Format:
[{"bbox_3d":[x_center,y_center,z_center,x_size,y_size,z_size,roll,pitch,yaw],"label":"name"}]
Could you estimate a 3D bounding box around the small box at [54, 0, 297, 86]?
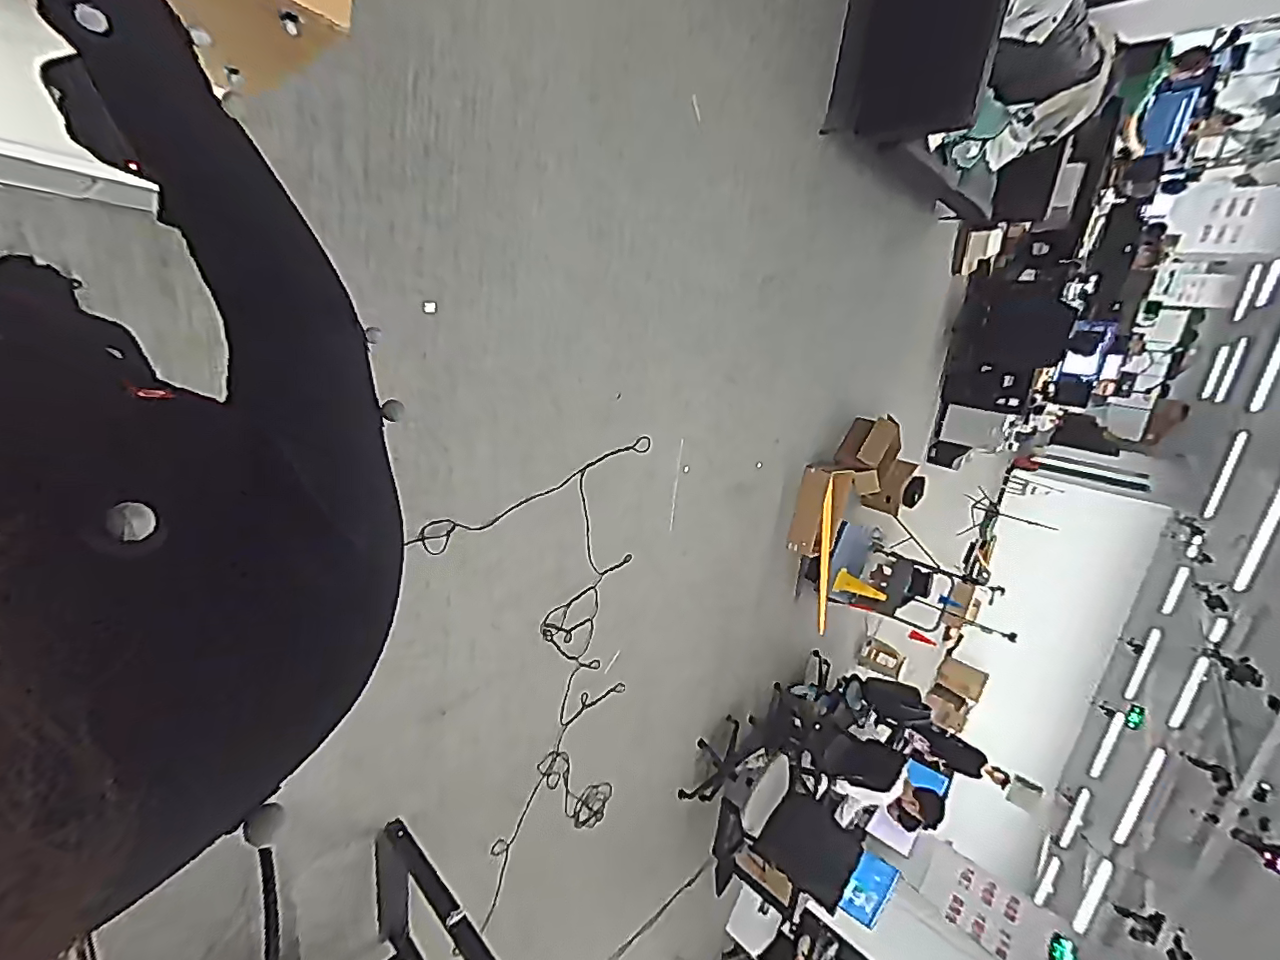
[{"bbox_3d":[-0.479,-0.540,0.556,0.179,0.176,0.168,-6,110,-47],"label":"small box"}]
